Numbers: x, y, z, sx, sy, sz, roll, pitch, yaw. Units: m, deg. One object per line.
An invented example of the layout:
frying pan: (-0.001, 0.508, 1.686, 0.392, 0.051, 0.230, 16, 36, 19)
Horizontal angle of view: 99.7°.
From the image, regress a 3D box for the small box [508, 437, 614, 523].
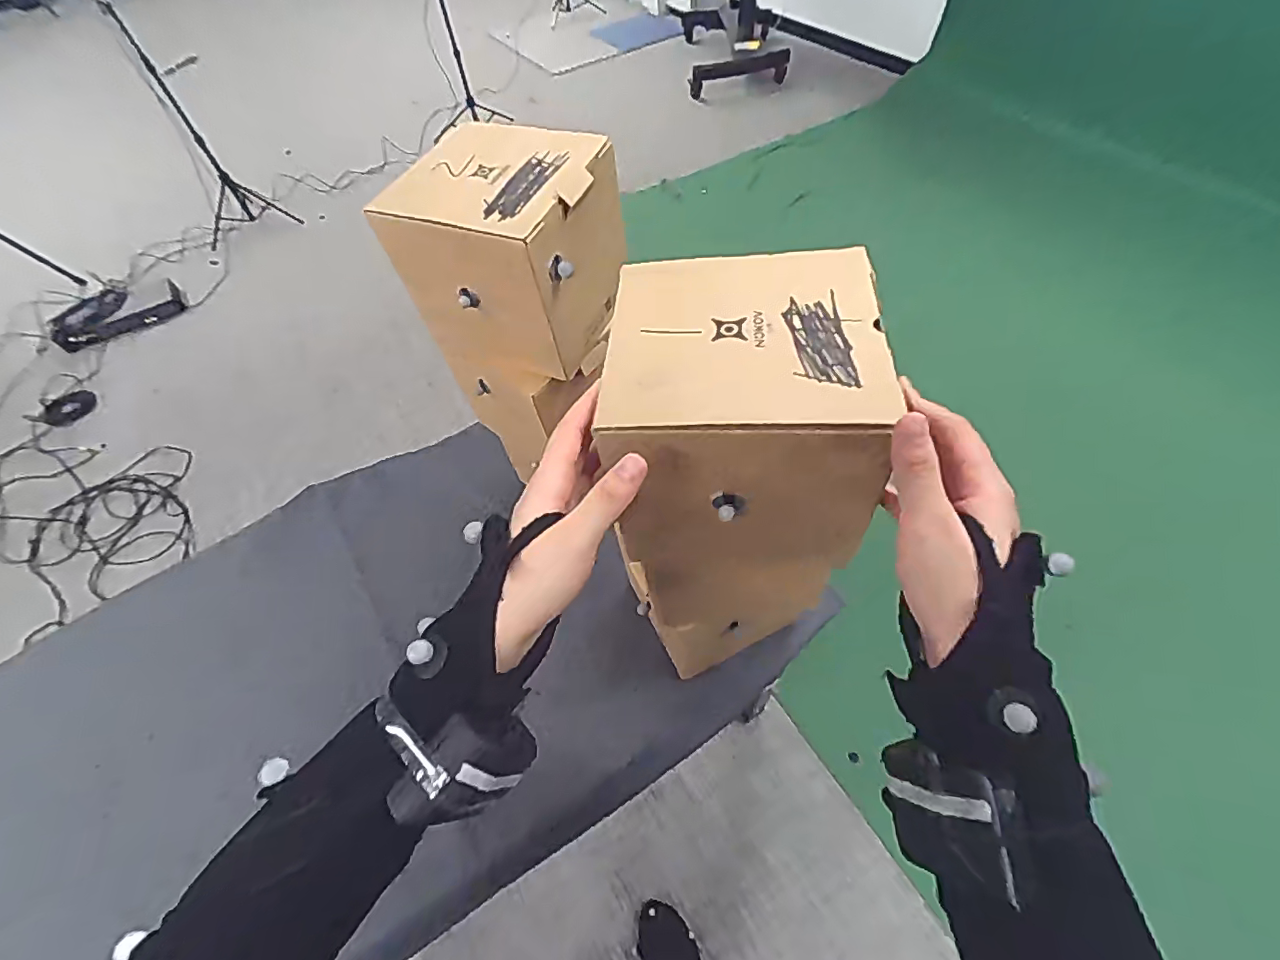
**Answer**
small box: (-0.085, -0.061, 0.834, 0.179, 0.176, 0.168, 30, 66, 20)

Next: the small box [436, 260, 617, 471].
small box: (-0.116, -0.140, 0.690, 0.179, 0.176, 0.168, 33, 68, 23)

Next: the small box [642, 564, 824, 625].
small box: (0.084, 0.035, 0.550, 0.179, 0.176, 0.168, -8, 53, 1)

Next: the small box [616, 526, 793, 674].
small box: (0.091, 0.120, 0.690, 0.179, 0.176, 0.168, -26, 55, -10)

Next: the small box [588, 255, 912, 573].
small box: (0.074, -0.041, 0.400, 0.179, 0.176, 0.168, 1, 55, 10)
